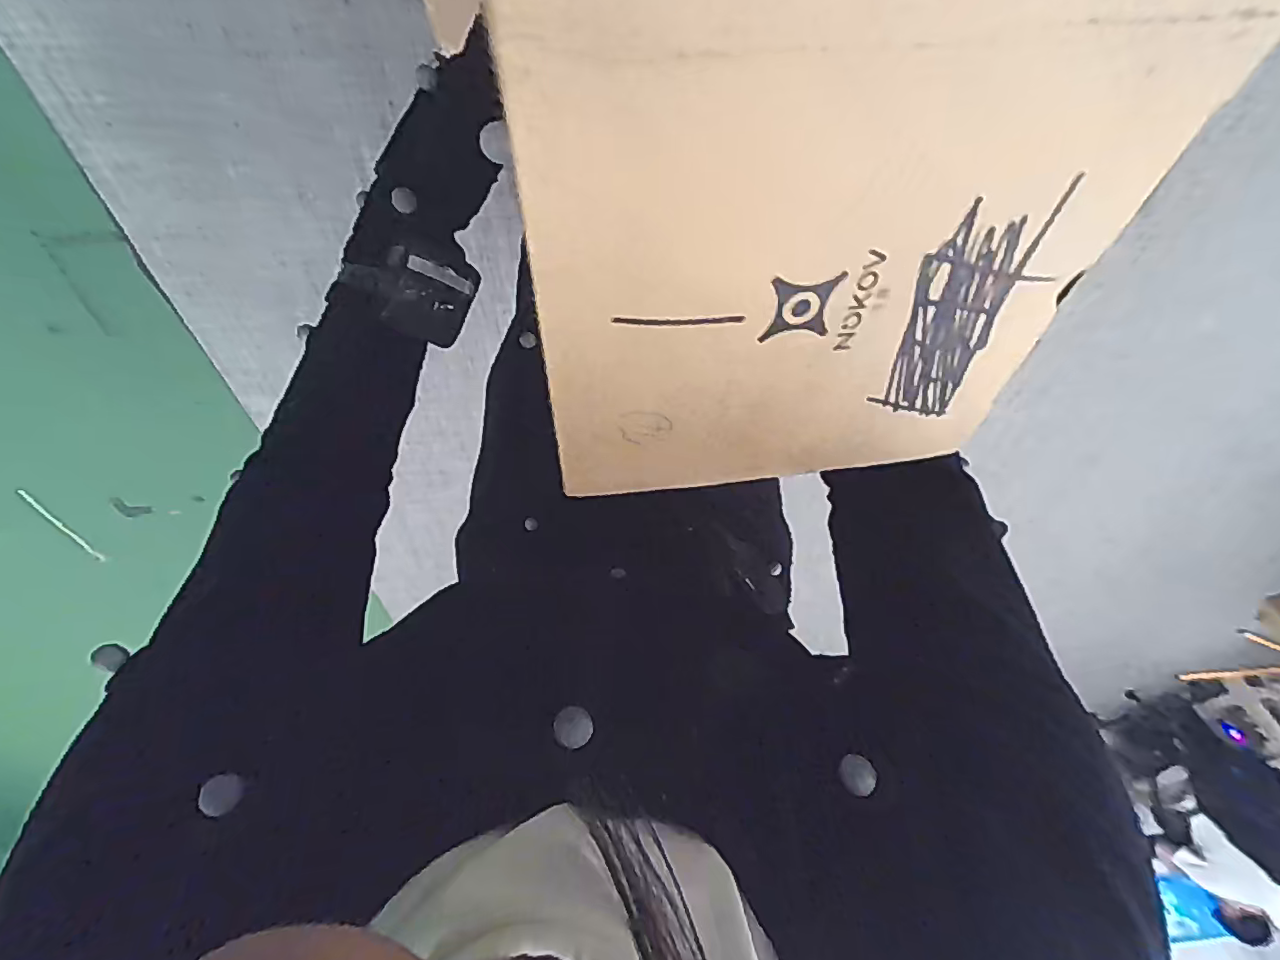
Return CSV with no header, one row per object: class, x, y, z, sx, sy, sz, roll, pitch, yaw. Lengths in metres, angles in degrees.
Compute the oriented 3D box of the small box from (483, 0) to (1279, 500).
small box,0.043,-0.117,0.211,0.179,0.176,0.168,-10,144,-4
